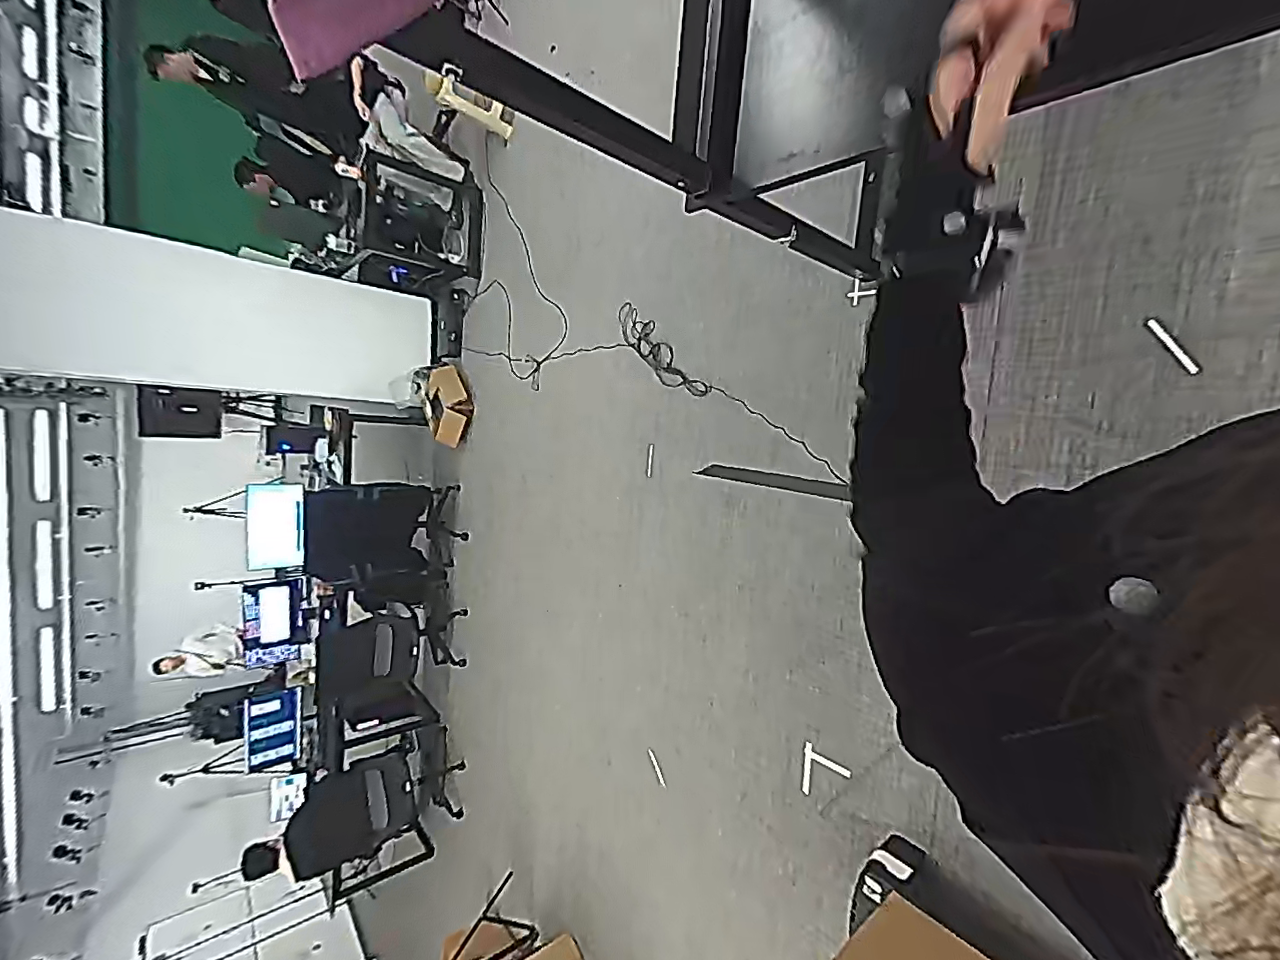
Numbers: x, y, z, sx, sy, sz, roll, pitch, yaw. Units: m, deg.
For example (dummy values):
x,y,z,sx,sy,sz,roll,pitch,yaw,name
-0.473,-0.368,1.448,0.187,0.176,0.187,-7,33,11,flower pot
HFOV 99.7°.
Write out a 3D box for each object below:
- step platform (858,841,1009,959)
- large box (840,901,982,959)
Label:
x,y,z,sx,sy,sz,roll,pitch,yaw,name
0.857,1.203,1.229,0.684,0.204,0.286,20,105,47,step platform
0.640,1.213,1.117,0.408,0.320,0.320,11,99,48,large box
